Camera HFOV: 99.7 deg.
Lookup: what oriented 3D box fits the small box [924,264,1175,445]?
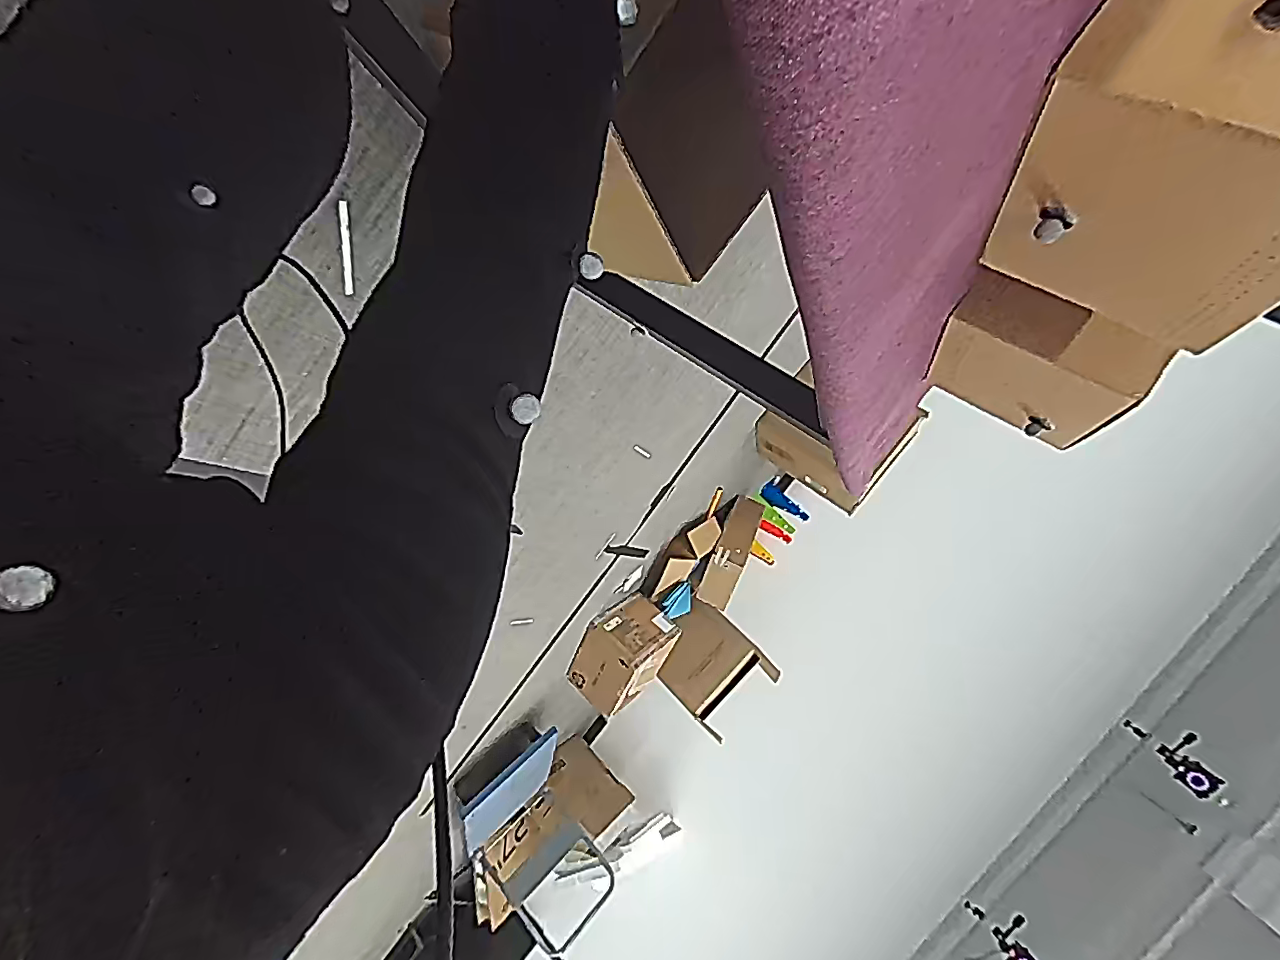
[{"bbox_3d":[0.428,-0.164,0.564,0.168,0.176,0.179,-55,158,2],"label":"small box"}]

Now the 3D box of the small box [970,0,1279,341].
[{"bbox_3d":[0.353,-0.219,0.337,0.168,0.176,0.179,-54,157,2],"label":"small box"}]
